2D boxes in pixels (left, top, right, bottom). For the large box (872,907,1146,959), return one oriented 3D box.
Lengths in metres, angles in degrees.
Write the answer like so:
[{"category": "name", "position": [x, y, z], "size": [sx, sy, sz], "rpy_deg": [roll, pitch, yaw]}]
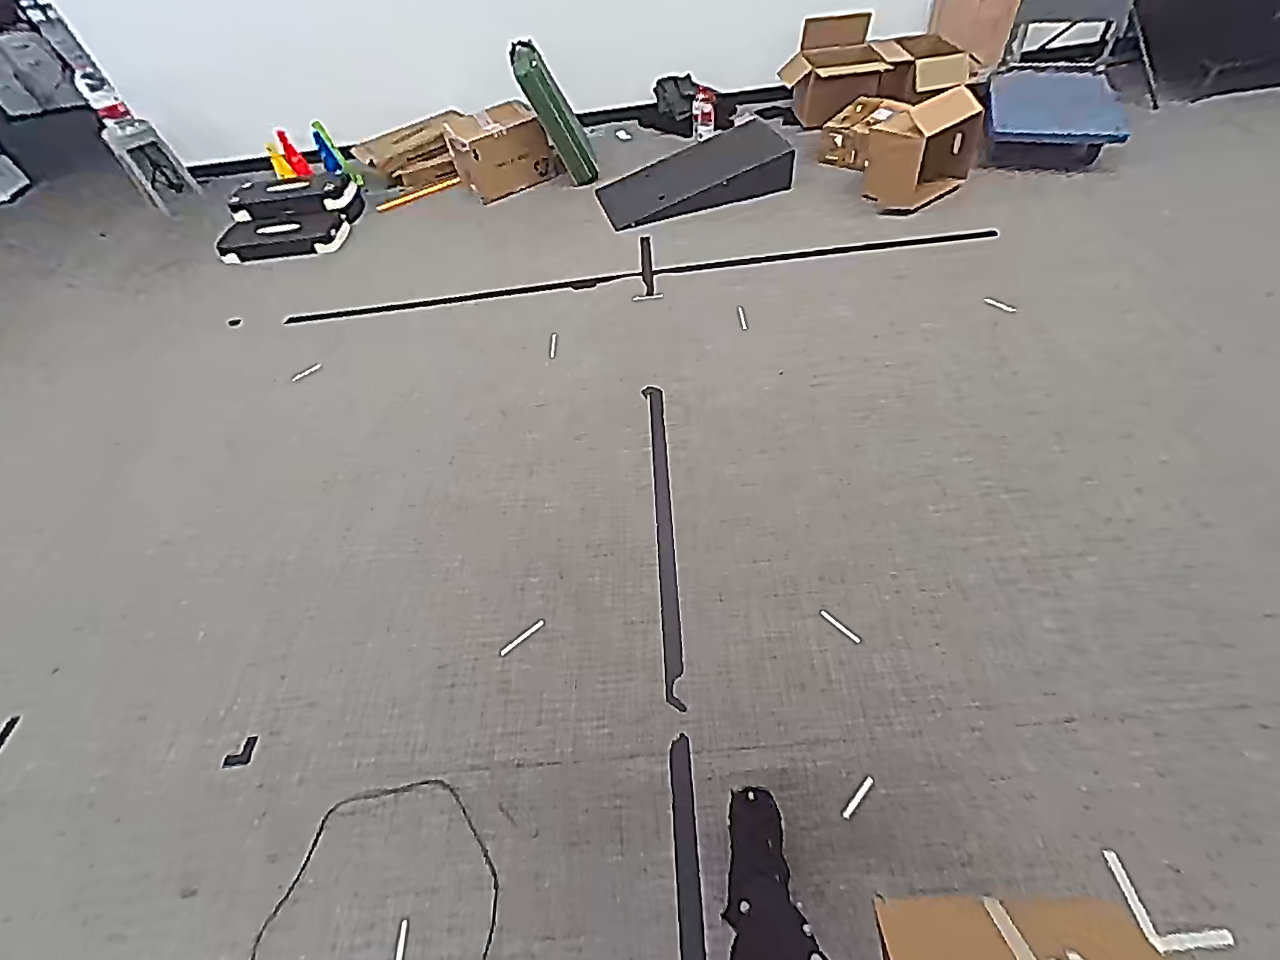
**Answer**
[{"category": "large box", "position": [0.470, 0.746, 0.561], "size": [0.320, 0.408, 0.320], "rpy_deg": [-7, 82, 11]}]
